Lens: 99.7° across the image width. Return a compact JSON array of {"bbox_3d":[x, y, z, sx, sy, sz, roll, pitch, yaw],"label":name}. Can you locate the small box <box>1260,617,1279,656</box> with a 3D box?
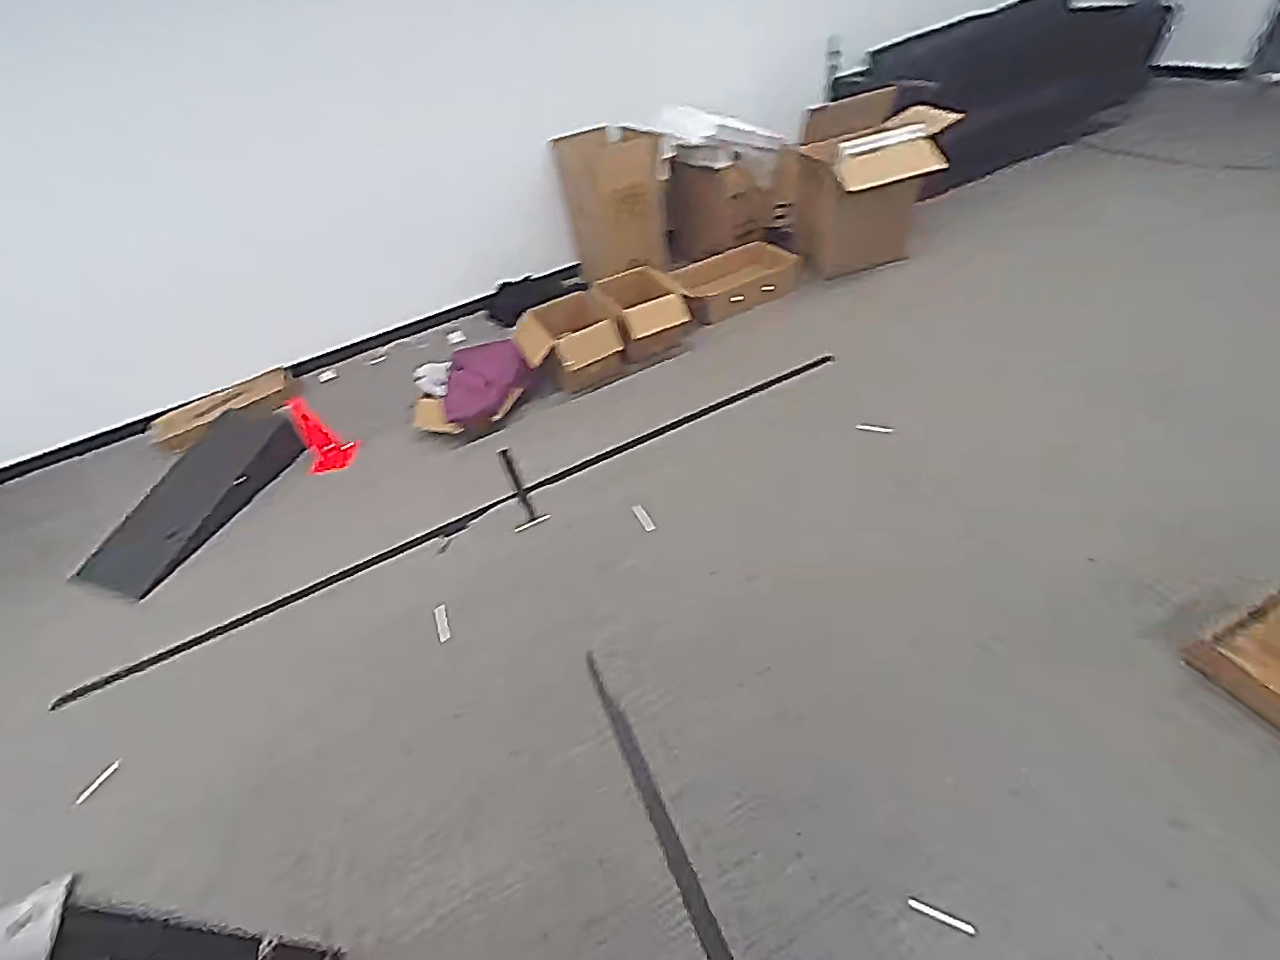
[{"bbox_3d":[1.567,0.344,1.204,0.179,0.176,0.168,-24,45,-11],"label":"small box"}]
